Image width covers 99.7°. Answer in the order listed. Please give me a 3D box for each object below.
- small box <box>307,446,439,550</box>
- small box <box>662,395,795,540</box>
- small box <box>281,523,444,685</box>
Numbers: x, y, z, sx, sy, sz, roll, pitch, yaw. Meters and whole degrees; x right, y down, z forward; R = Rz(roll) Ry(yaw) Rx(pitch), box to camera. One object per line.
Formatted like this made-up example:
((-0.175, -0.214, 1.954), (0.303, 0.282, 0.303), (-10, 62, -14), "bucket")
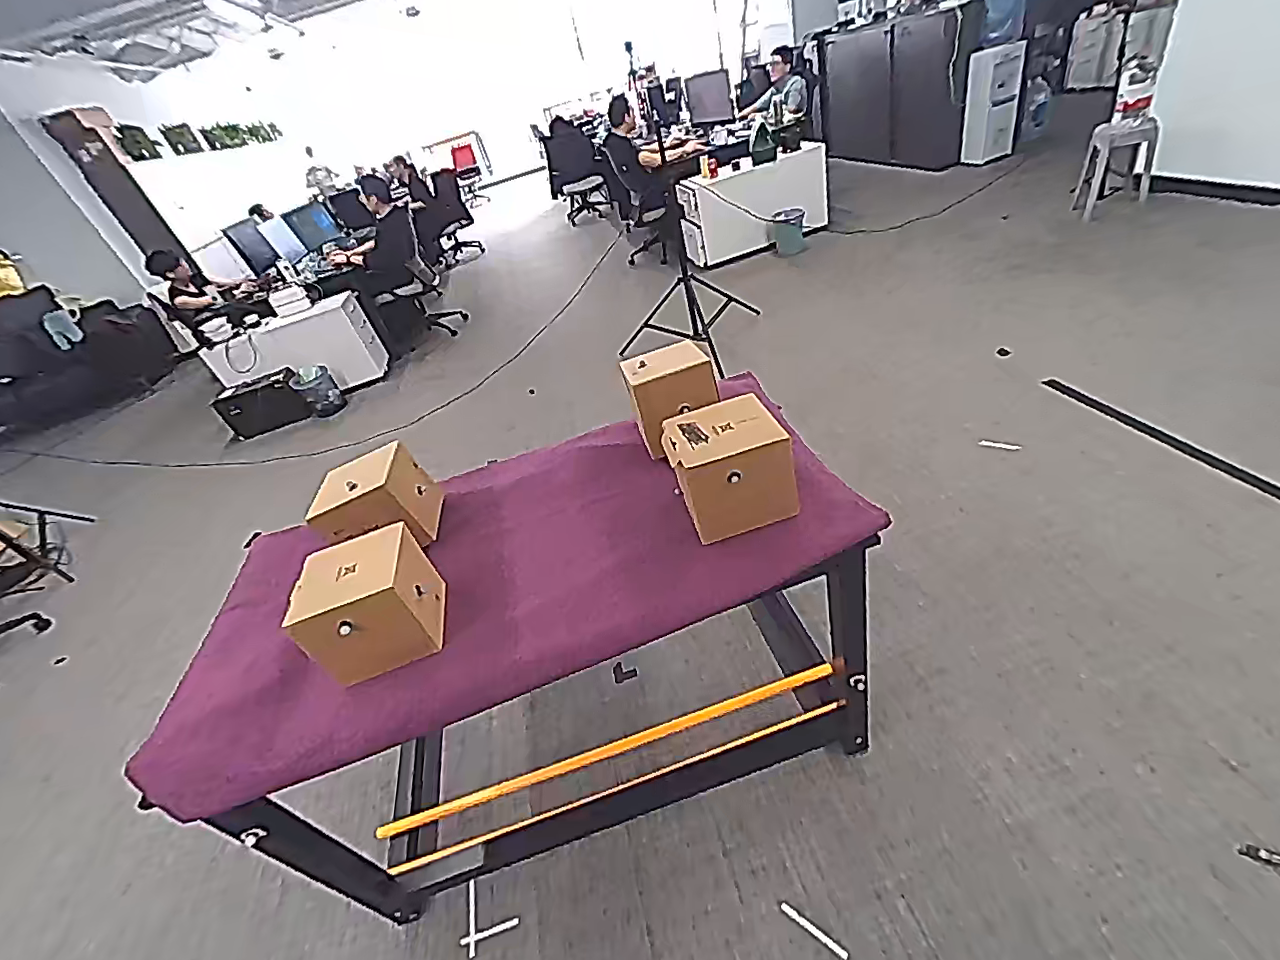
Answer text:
((-0.538, 0.056, 1.122), (0.179, 0.168, 0.176), (-24, 35, 5), "small box")
((0.155, -0.020, 0.949), (0.179, 0.176, 0.168), (-18, 35, 0), "small box")
((-0.448, 0.208, 0.911), (0.179, 0.176, 0.168), (-21, 36, -4), "small box")
